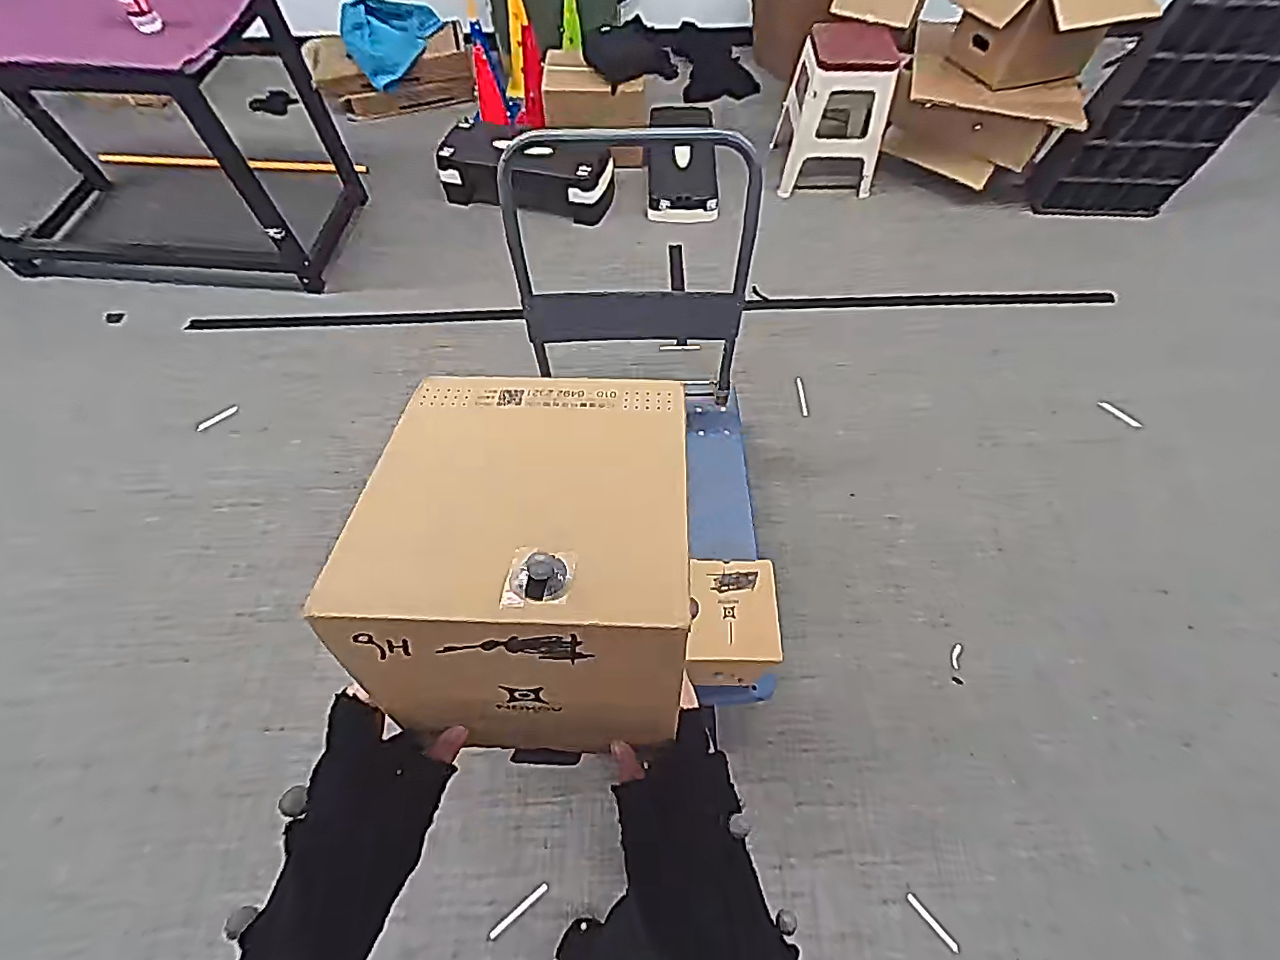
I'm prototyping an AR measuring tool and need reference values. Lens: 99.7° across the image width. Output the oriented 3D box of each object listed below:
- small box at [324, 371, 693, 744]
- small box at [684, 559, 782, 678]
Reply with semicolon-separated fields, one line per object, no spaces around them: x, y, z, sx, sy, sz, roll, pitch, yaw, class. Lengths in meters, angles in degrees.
-0.055;0.053;0.350;0.168;0.179;0.176;1;47;1;small box
0.153;0.257;0.991;0.168;0.176;0.179;1;62;0;small box
